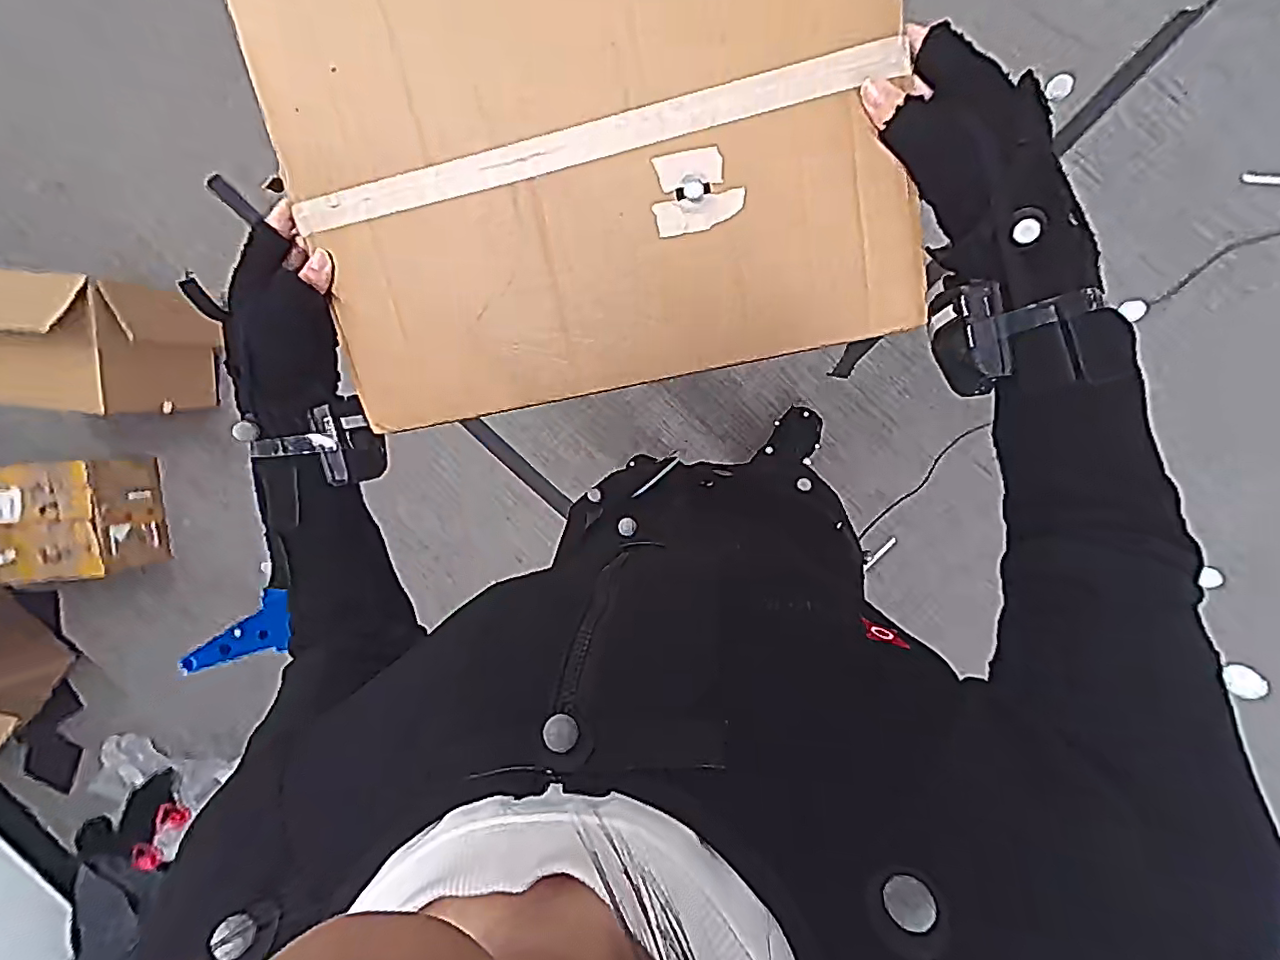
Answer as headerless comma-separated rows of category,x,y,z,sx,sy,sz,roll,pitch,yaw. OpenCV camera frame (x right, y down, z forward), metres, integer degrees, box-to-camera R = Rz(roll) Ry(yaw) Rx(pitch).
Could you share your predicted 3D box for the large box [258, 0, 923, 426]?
large box,-0.019,-0.260,0.504,0.408,0.320,0.320,-10,105,7
